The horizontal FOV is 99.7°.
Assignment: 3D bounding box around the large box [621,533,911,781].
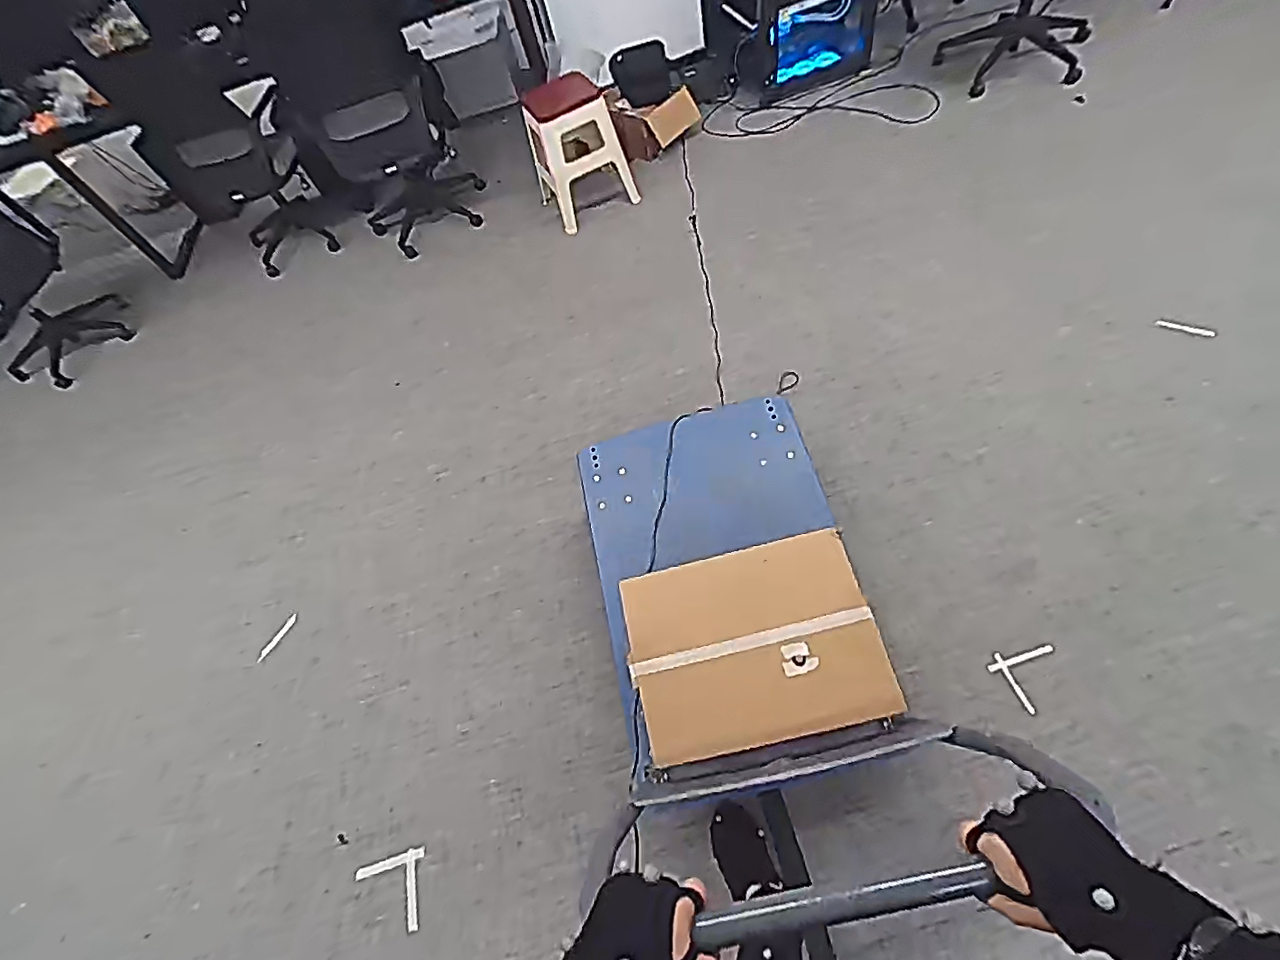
[{"bbox_3d":[0.209,0.338,1.020,0.408,0.320,0.320,-15,65,3],"label":"large box"}]
